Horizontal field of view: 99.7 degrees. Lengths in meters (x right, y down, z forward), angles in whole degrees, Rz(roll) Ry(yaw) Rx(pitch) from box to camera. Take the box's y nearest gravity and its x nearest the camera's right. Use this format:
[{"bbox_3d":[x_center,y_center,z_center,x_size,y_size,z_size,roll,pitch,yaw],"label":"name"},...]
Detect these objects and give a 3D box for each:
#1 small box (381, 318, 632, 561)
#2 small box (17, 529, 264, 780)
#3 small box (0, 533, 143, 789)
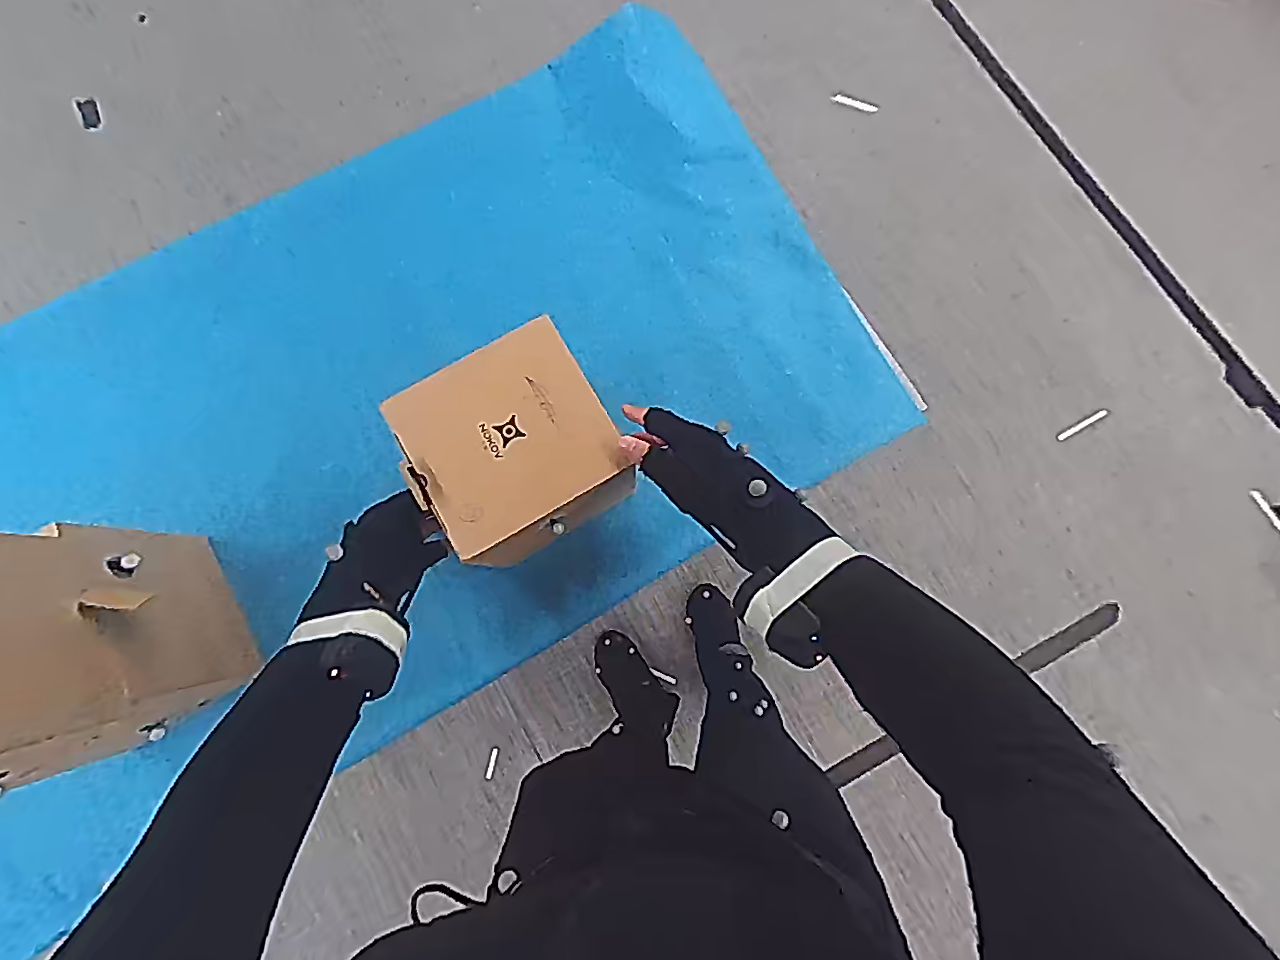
[{"bbox_3d":[-0.119,-0.026,0.559,0.179,0.176,0.168,-30,82,-4],"label":"small box"},{"bbox_3d":[-0.526,0.165,0.532,0.168,0.176,0.179,-28,83,-3],"label":"small box"},{"bbox_3d":[-0.519,0.146,0.366,0.179,0.176,0.168,-29,81,-5],"label":"small box"}]
